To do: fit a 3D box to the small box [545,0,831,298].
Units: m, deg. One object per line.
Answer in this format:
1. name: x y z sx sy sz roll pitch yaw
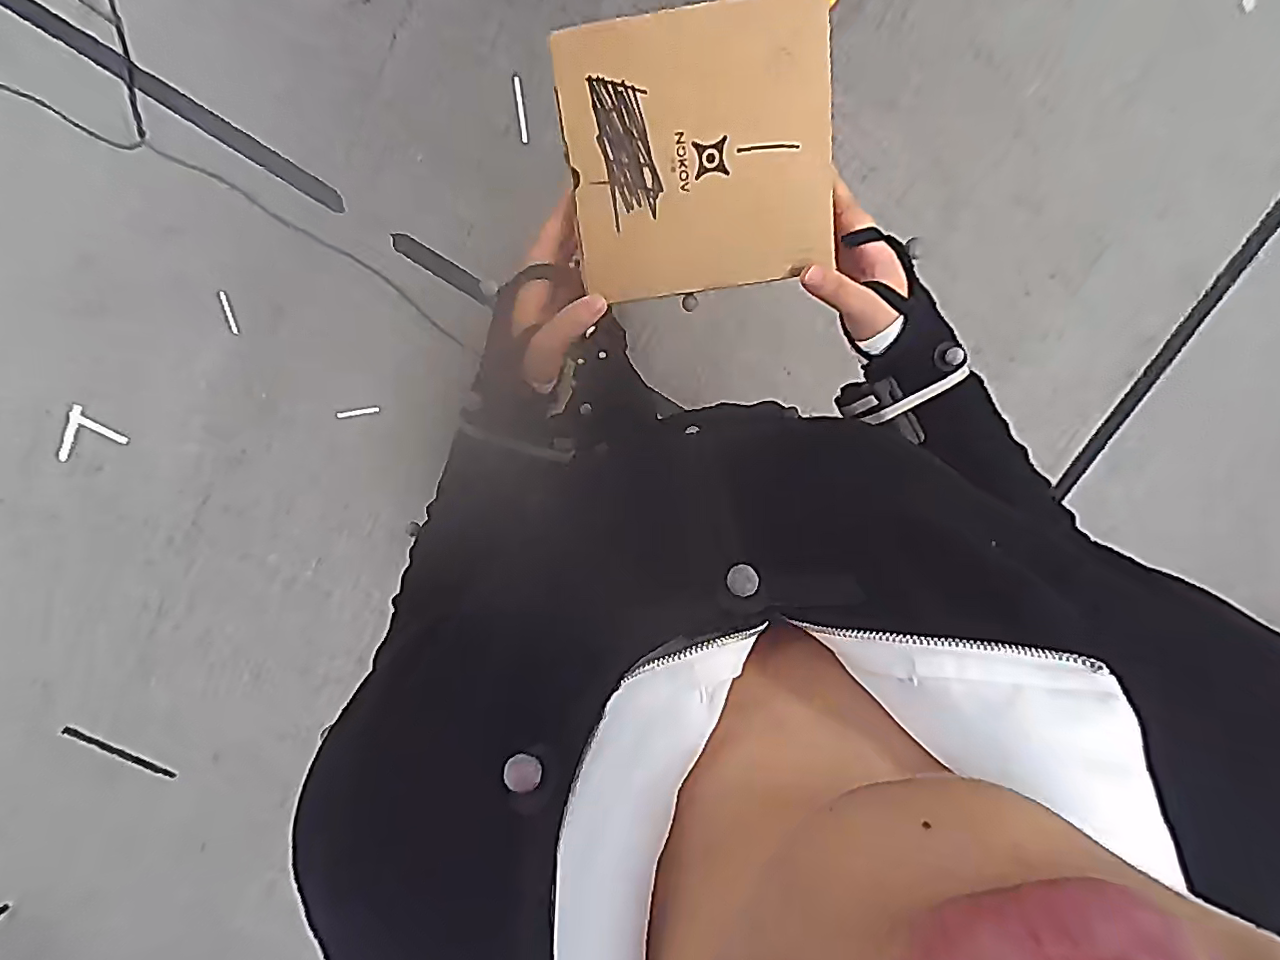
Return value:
1. small box: 0.038 -0.241 0.430 0.179 0.176 0.168 -7 109 3
